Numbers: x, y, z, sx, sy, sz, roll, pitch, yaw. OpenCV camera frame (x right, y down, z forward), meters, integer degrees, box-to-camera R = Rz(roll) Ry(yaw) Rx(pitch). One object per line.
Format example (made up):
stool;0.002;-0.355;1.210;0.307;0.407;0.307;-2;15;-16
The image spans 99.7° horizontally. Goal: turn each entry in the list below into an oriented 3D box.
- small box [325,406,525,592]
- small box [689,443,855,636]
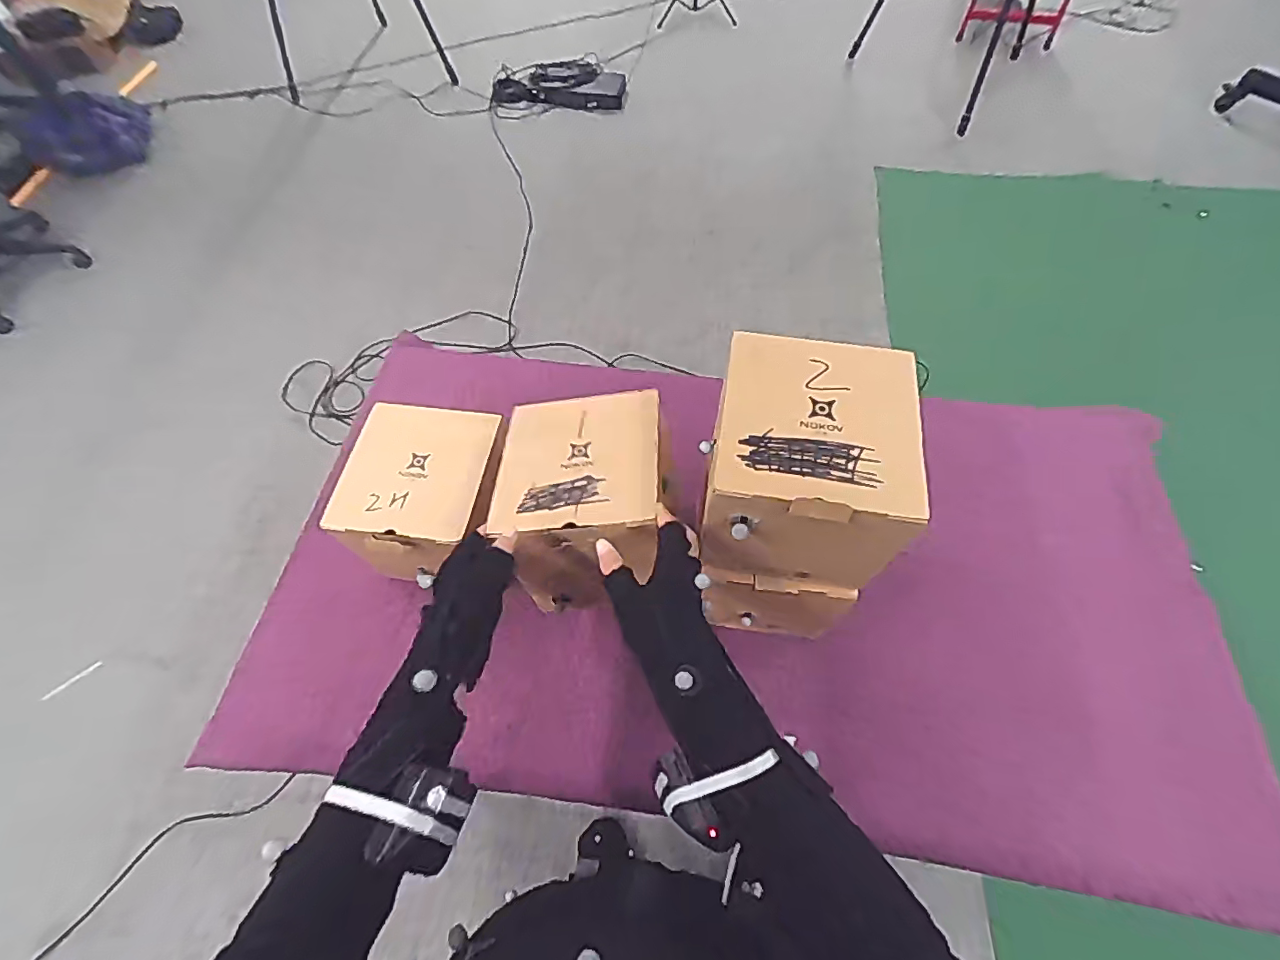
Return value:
small box;-0.258;0.029;0.704;0.168;0.176;0.179;6;61;5
small box;0.152;0.078;0.669;0.168;0.176;0.179;6;62;5
